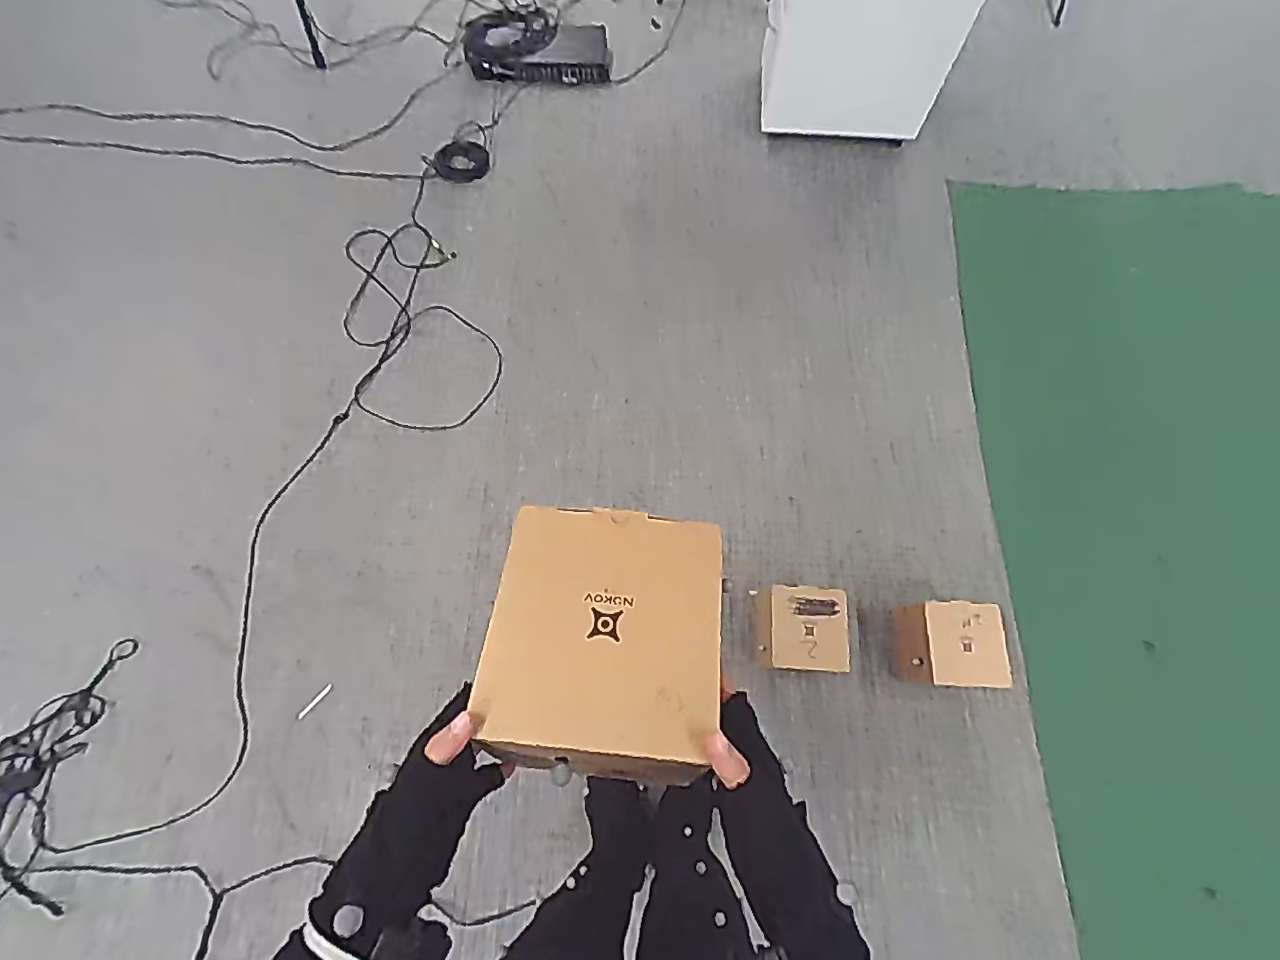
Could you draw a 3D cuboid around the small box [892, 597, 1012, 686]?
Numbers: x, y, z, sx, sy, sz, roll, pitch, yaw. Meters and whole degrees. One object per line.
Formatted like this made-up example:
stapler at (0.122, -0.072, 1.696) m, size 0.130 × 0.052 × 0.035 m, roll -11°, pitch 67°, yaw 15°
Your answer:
small box at (0.692, 0.365, 1.219) m, size 0.168 × 0.176 × 0.179 m, roll 3°, pitch 71°, yaw 0°
